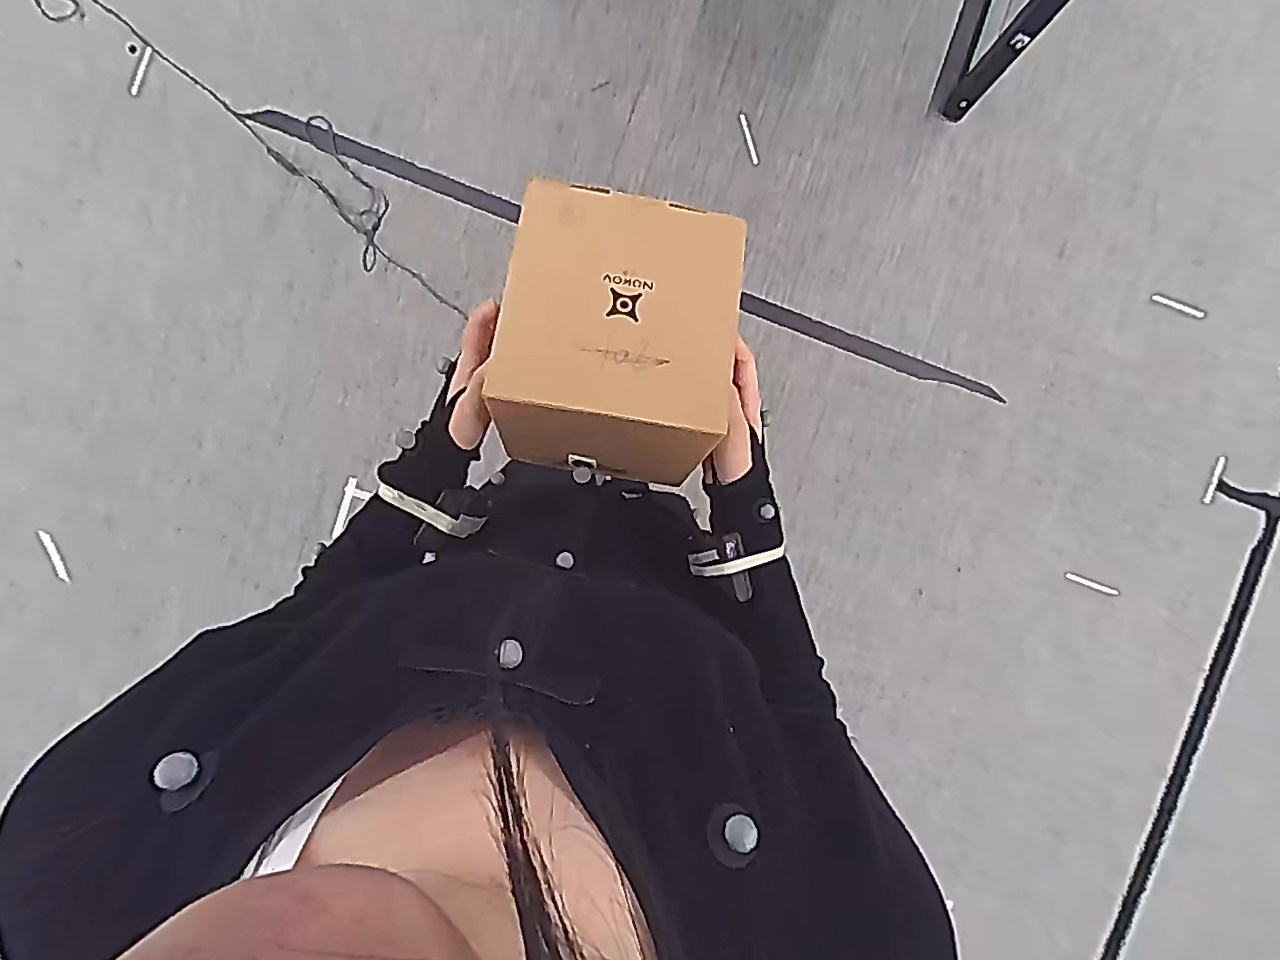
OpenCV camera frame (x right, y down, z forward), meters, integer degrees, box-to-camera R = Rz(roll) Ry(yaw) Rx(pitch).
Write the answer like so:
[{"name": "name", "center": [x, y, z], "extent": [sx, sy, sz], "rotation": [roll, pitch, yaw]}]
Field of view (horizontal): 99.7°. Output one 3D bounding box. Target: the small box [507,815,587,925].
[{"name": "small box", "center": [-0.237, 1.014, 1.417], "extent": [0.179, 0.176, 0.168], "rotation": [8, 91, -2]}]

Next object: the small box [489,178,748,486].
[{"name": "small box", "center": [-0.019, -0.106, 0.455], "extent": [0.168, 0.176, 0.179], "rotation": [8, 76, -5]}]
